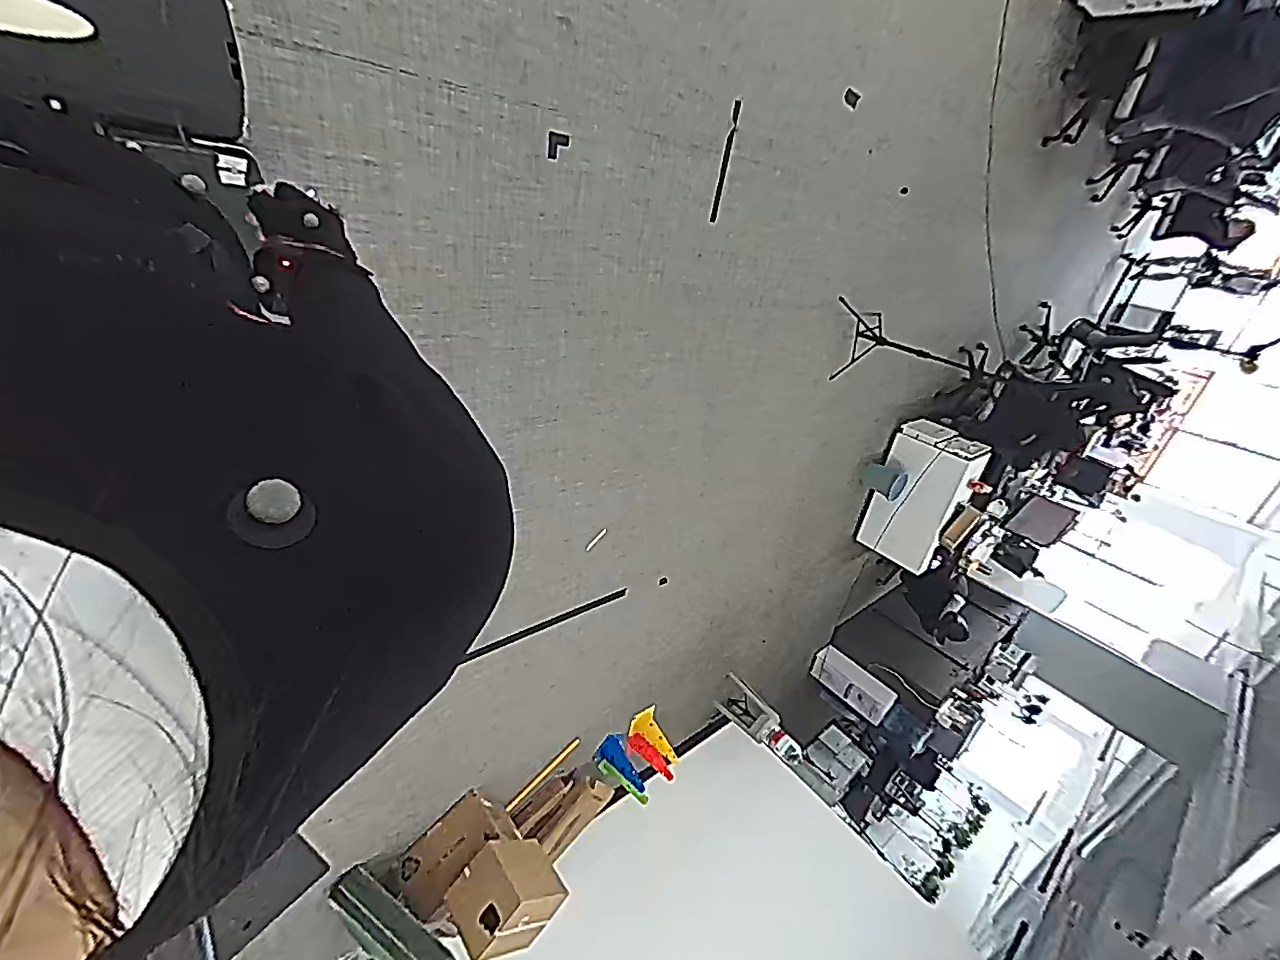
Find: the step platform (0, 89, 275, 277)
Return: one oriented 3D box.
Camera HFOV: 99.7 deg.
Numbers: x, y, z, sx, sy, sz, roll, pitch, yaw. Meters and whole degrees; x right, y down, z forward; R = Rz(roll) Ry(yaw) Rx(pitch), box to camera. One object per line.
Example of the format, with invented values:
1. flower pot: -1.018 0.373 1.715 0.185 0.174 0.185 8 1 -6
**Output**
1. step platform: -1.070 -0.530 0.972 0.684 0.204 0.286 -15 125 -37
